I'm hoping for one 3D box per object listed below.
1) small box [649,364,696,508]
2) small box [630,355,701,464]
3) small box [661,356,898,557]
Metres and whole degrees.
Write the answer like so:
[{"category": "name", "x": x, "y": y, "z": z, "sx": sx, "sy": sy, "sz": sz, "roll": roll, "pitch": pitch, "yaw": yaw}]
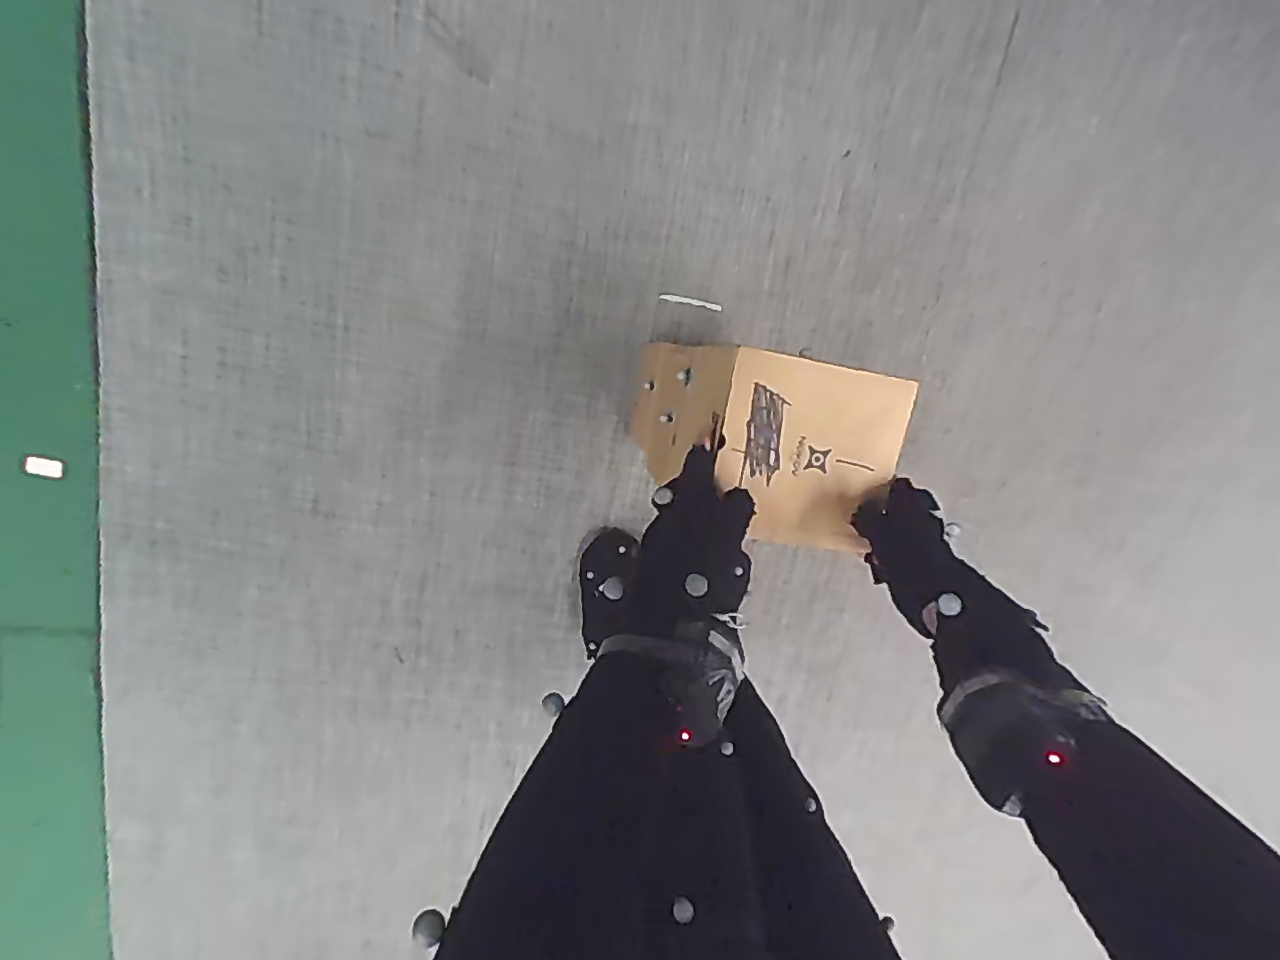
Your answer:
[{"category": "small box", "x": 0.111, "y": -0.059, "z": 0.730, "sx": 0.168, "sy": 0.176, "sz": 0.179, "roll": 7, "pitch": 103, "yaw": -8}, {"category": "small box", "x": 0.090, "y": -0.110, "z": 0.885, "sx": 0.179, "sy": 0.176, "sz": 0.168, "roll": 7, "pitch": 101, "yaw": -10}, {"category": "small box", "x": 0.131, "y": -0.032, "z": 0.579, "sx": 0.179, "sy": 0.176, "sz": 0.168, "roll": 9, "pitch": 101, "yaw": -11}]
